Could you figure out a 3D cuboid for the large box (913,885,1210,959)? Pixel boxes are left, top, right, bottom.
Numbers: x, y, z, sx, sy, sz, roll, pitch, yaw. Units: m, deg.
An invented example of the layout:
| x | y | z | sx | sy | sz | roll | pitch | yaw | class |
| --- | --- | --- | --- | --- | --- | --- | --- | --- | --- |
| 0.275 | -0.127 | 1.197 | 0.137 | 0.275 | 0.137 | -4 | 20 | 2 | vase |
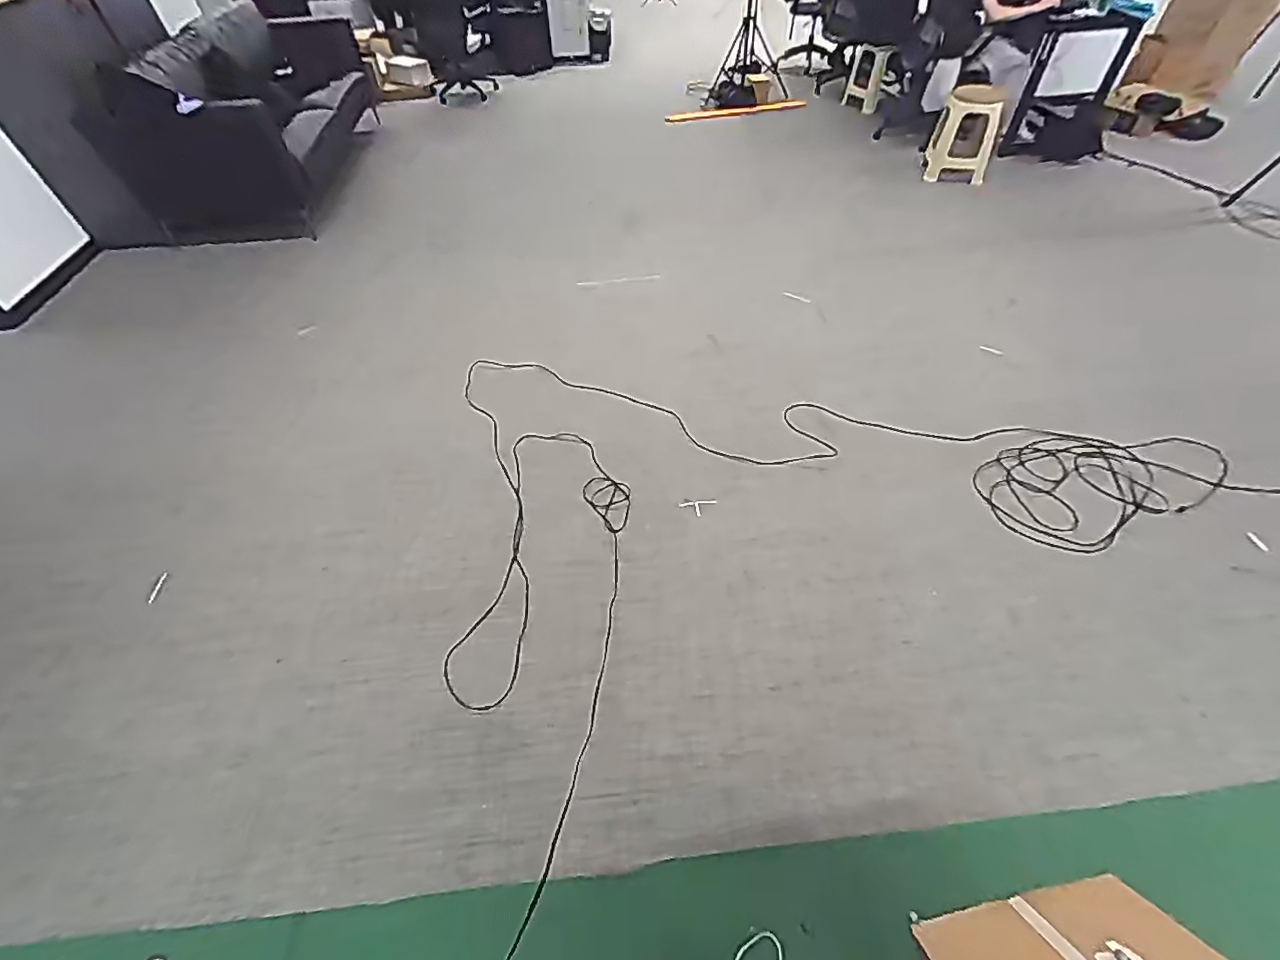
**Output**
| x | y | z | sx | sy | sz | roll | pitch | yaw | class |
| --- | --- | --- | --- | --- | --- | --- | --- | --- | --- |
| 0.581 | 0.756 | 0.580 | 0.320 | 0.408 | 0.320 | -12 | 85 | -2 | large box |
